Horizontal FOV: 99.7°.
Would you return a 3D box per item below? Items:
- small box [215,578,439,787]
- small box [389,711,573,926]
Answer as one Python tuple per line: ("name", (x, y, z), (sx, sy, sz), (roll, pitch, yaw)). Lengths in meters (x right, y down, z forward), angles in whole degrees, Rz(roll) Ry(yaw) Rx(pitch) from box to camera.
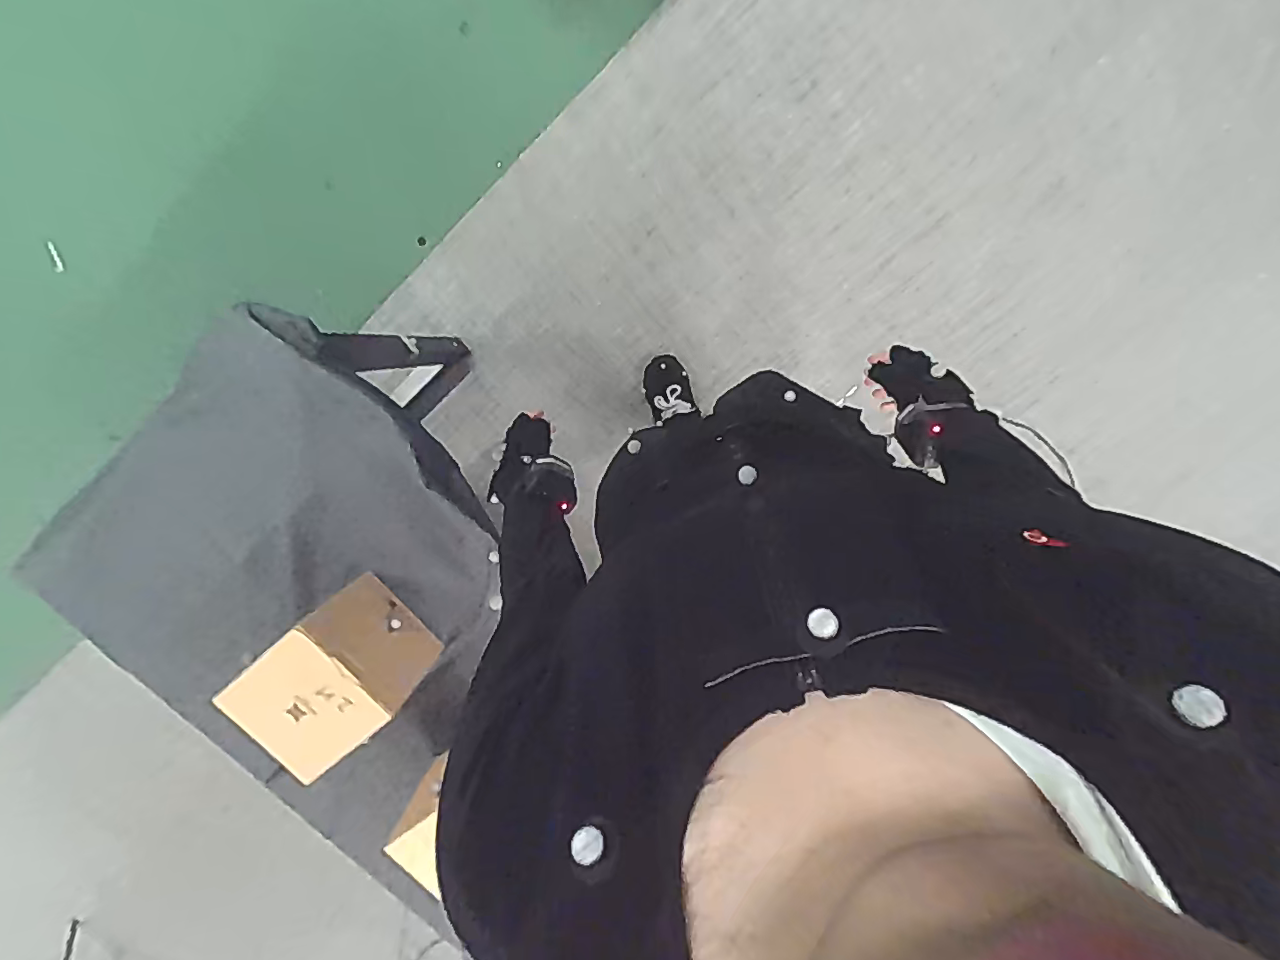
("small box", (-0.419, 0.272, 0.757), (0.179, 0.176, 0.168), (-39, 100, 11))
("small box", (-0.222, 0.491, 0.805), (0.179, 0.176, 0.168), (-40, 99, 10))
